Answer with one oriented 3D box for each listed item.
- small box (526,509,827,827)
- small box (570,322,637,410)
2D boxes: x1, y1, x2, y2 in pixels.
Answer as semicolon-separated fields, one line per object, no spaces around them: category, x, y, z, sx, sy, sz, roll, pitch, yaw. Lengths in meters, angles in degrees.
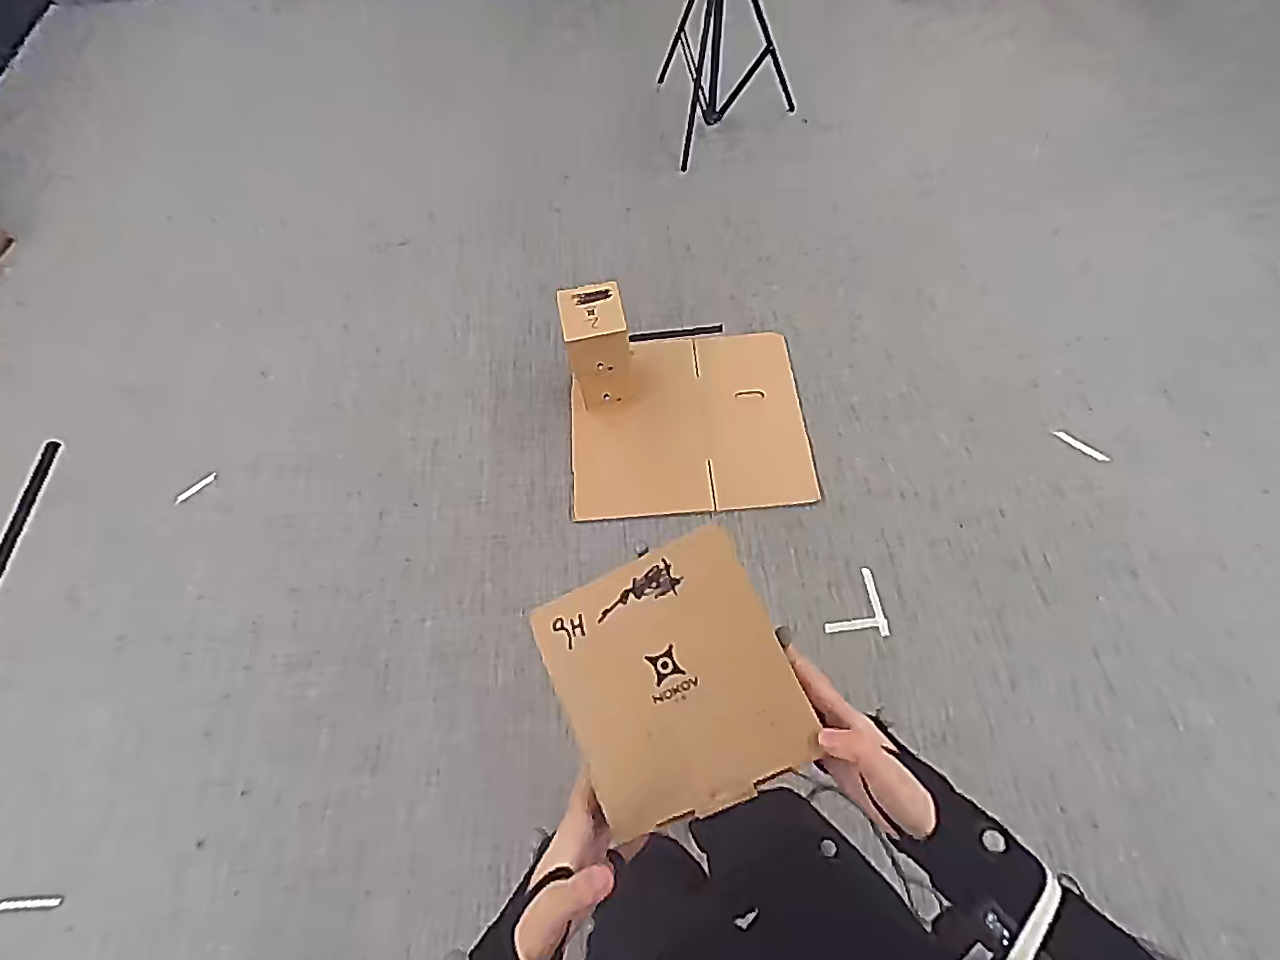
small box;0.034;0.144;0.463;0.168;0.176;0.179;-27;76;4
small box;-0.108;-0.341;1.635;0.168;0.176;0.179;-14;65;-2
